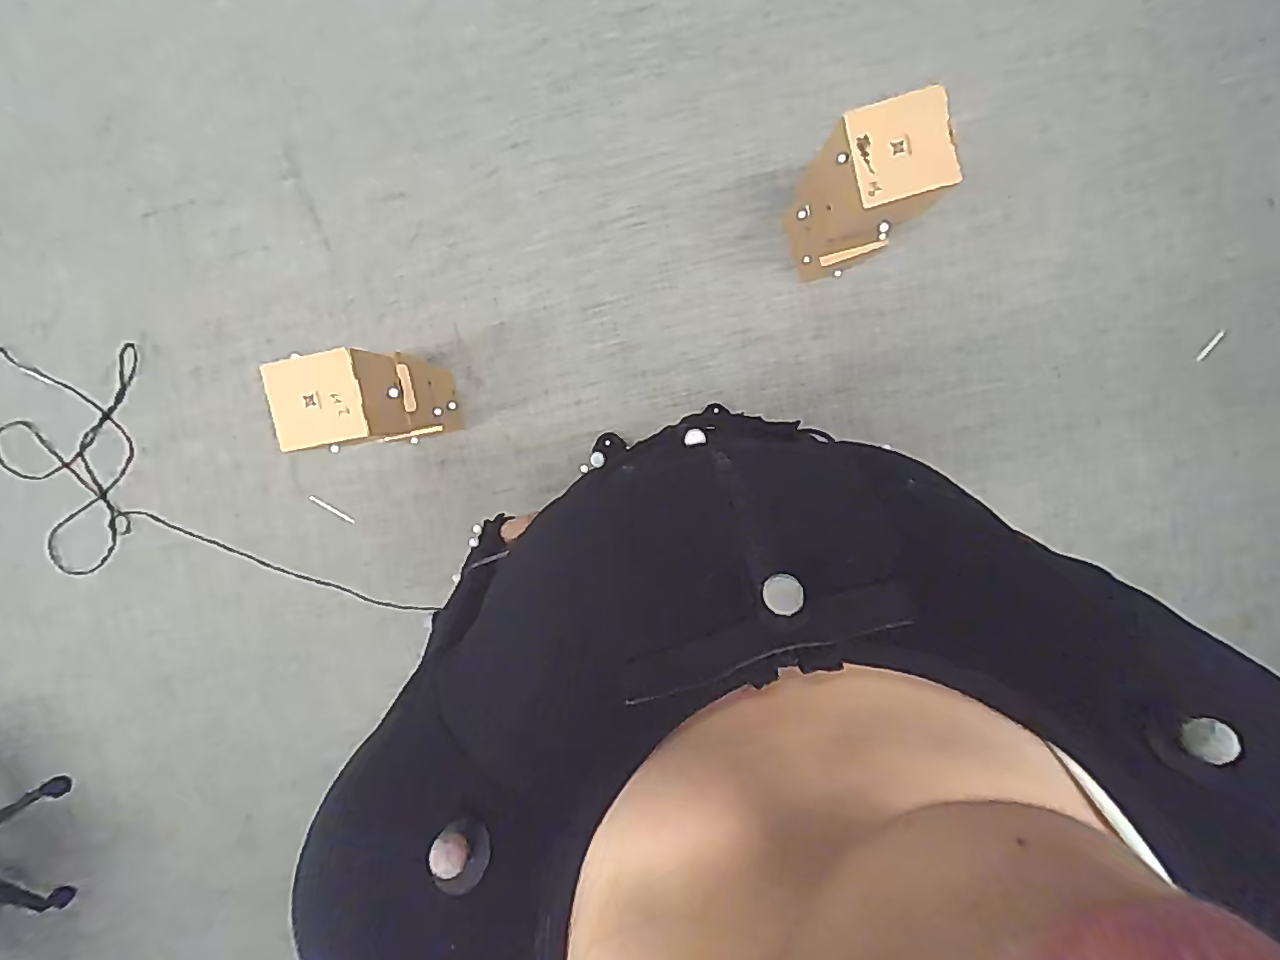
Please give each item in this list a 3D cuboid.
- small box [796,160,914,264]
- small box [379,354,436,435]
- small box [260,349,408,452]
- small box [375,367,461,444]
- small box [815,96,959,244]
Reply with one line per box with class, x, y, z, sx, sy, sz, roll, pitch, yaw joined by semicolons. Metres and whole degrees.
small box;0.460;-0.593;1.174;0.179;0.176;0.168;-14;95;4
small box;-0.585;-0.184;1.229;0.179;0.176;0.168;-10;95;4
small box;-0.592;-0.152;1.067;0.179;0.176;0.168;-10;96;3
small box;-0.578;-0.190;1.393;0.179;0.176;0.168;-11;96;3
small box;0.453;-0.567;1.012;0.179;0.176;0.168;-14;95;2
